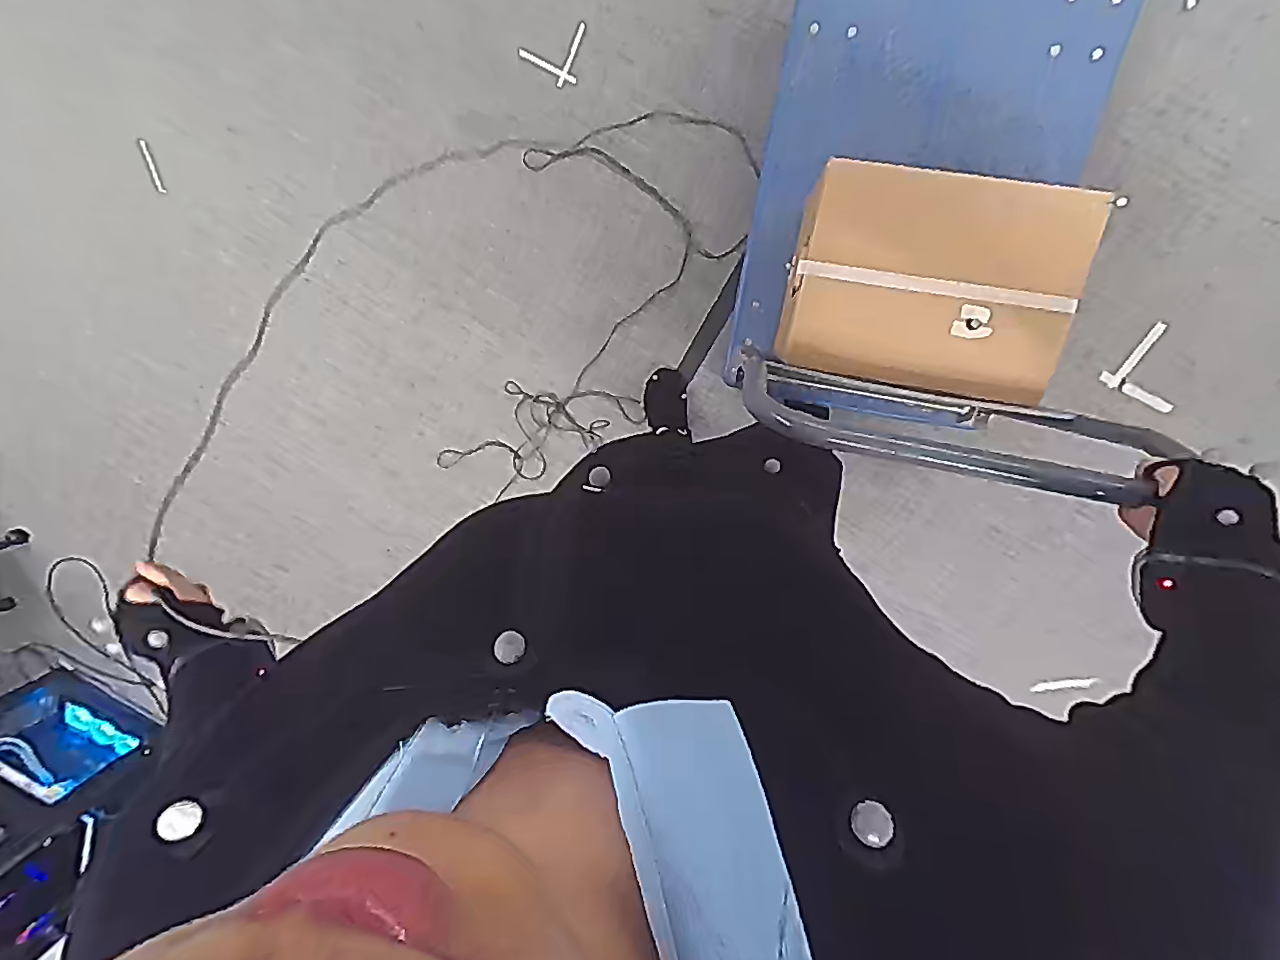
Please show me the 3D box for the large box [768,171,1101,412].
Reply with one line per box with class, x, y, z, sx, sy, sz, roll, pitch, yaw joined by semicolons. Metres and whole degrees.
large box;0.470;-0.326;0.980;0.408;0.320;0.320;12;107;6
